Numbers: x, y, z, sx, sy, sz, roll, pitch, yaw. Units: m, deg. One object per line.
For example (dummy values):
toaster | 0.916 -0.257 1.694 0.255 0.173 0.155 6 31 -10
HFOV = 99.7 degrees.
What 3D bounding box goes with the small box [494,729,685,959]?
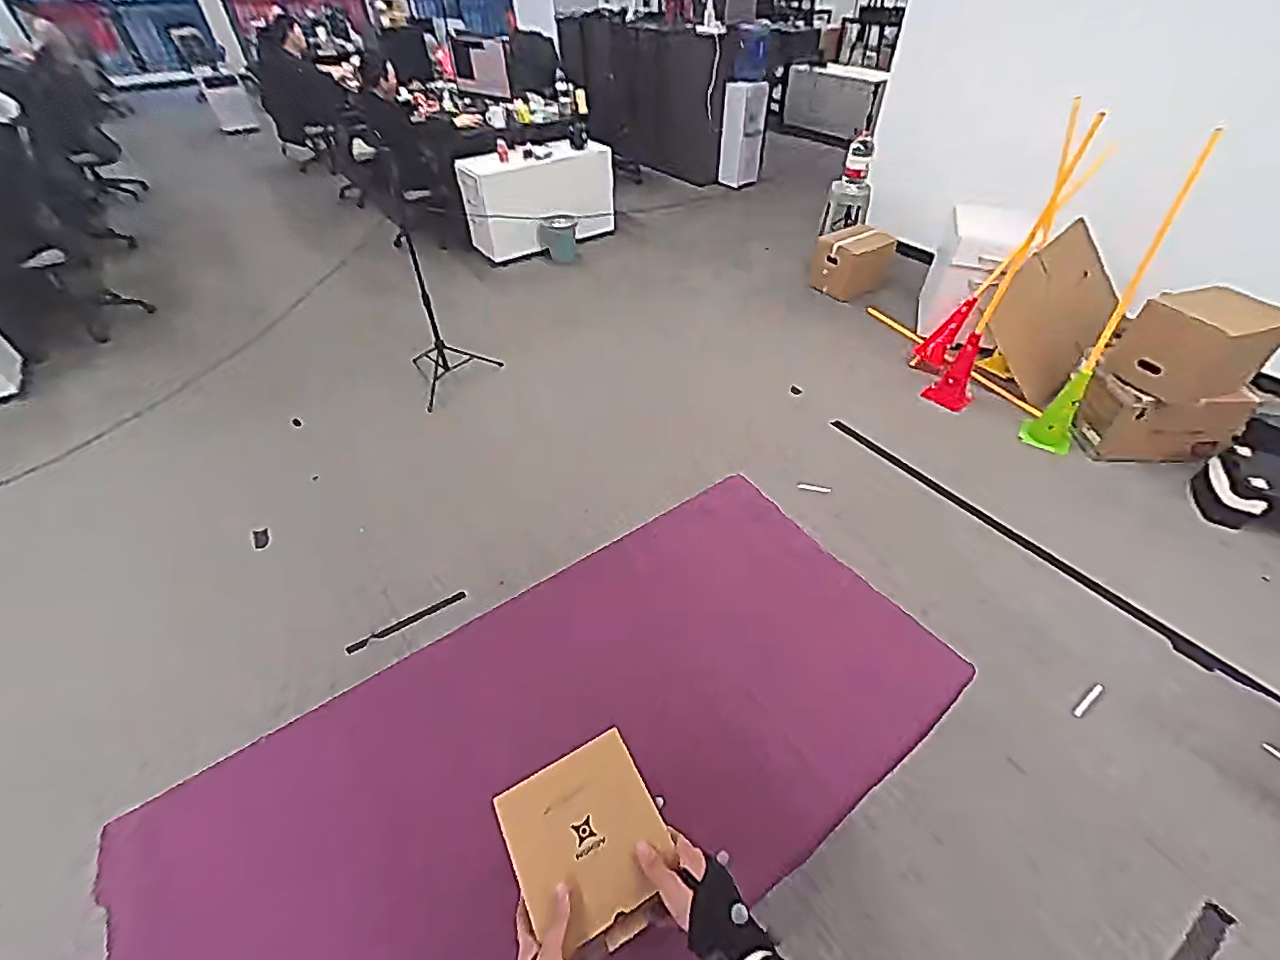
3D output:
small box | -0.055 0.447 0.658 0.168 0.176 0.179 -24 49 -17
